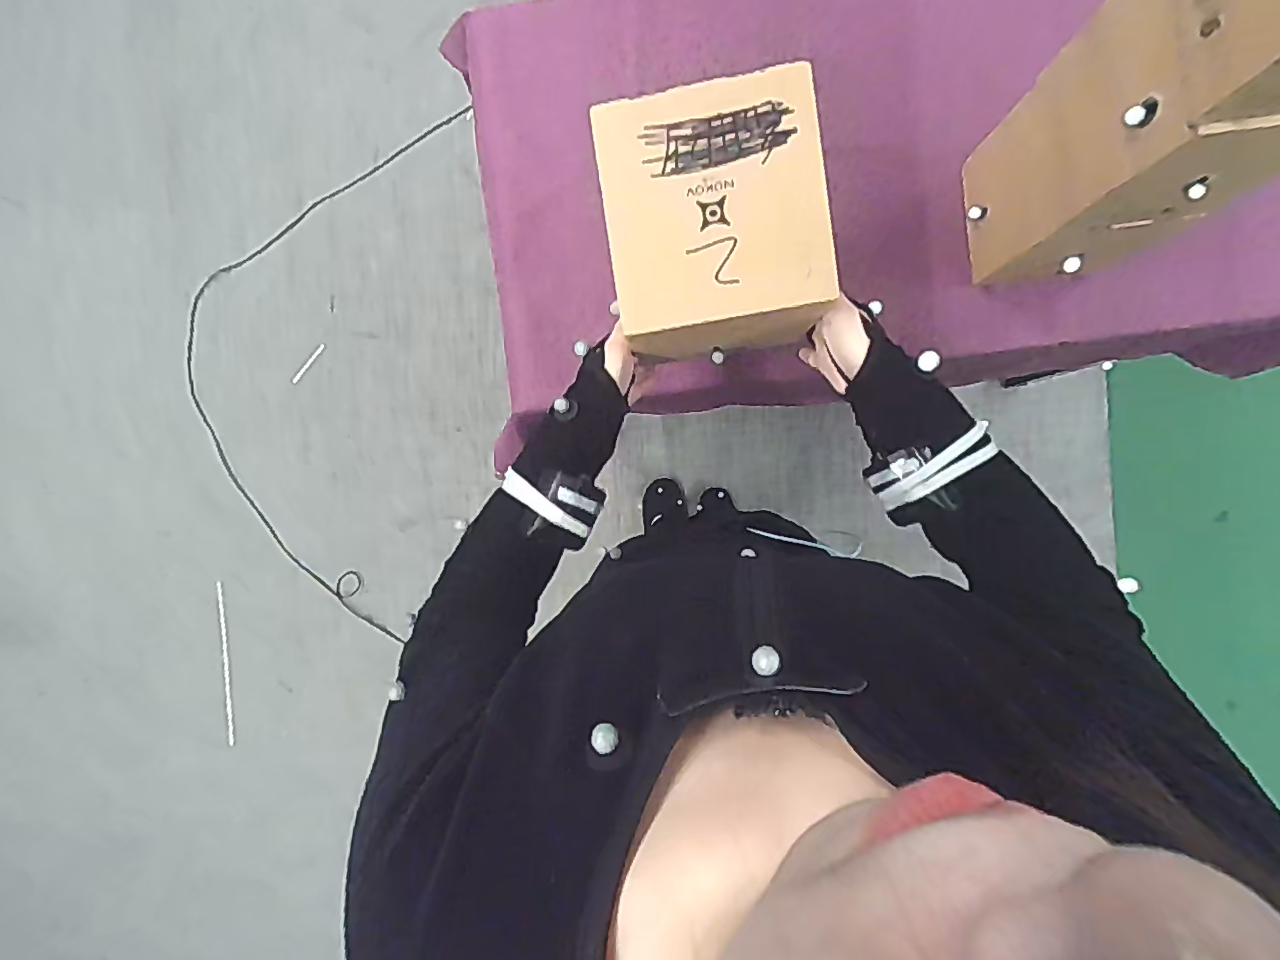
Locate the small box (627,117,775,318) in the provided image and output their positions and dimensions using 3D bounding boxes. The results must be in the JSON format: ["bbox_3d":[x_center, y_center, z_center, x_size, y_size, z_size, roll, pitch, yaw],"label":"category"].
[{"bbox_3d":[0.073,-0.325,0.701,0.168,0.176,0.179,-4,91,3],"label":"small box"}]

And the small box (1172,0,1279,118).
[{"bbox_3d":[0.509,-0.374,0.348,0.179,0.176,0.168,-6,89,4],"label":"small box"}]

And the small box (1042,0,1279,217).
[{"bbox_3d":[0.523,-0.370,0.511,0.168,0.176,0.179,-6,90,3],"label":"small box"}]

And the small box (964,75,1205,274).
[{"bbox_3d":[0.536,-0.372,0.675,0.168,0.176,0.179,-5,91,3],"label":"small box"}]
